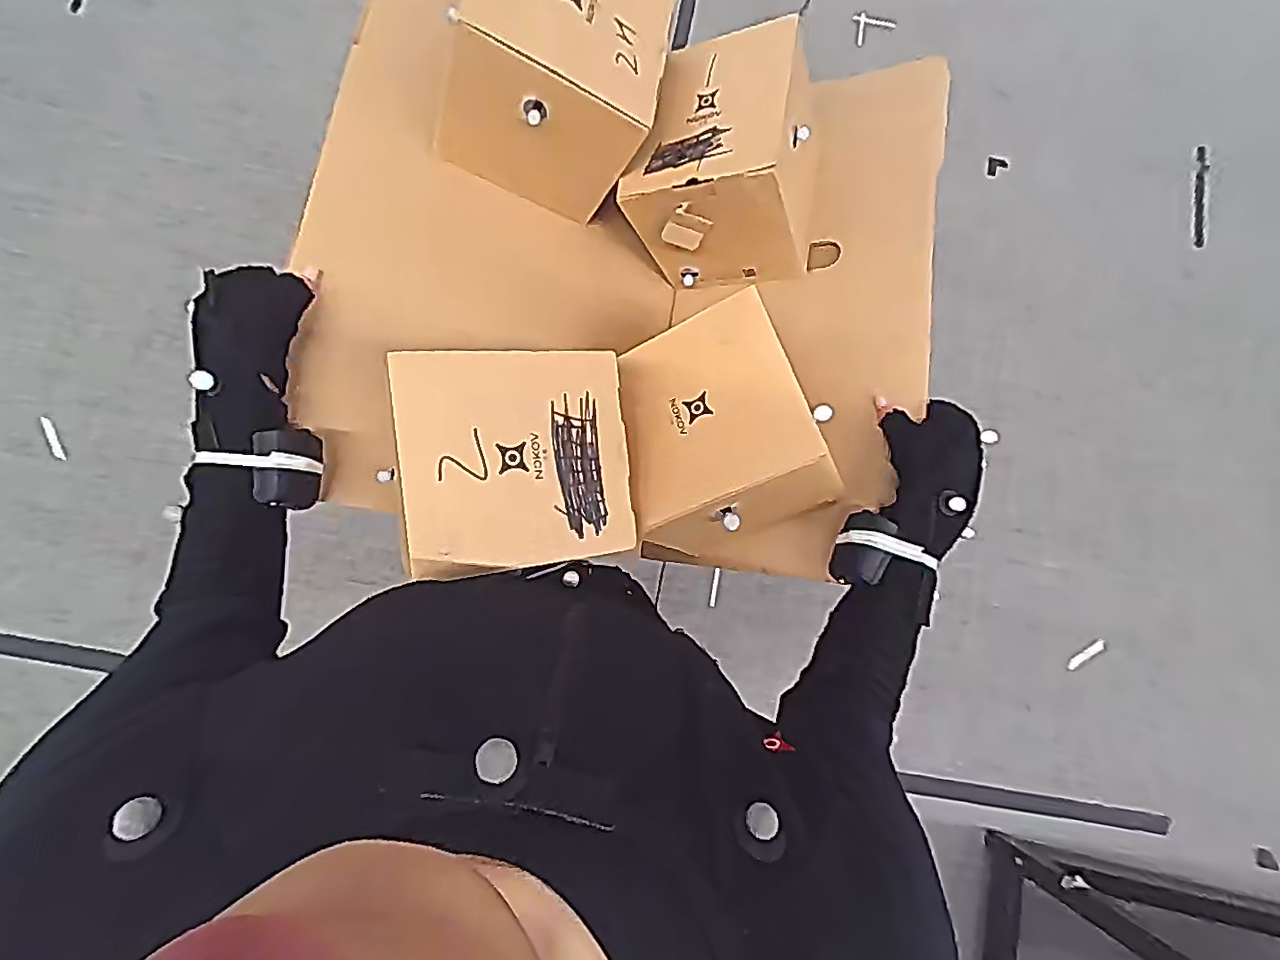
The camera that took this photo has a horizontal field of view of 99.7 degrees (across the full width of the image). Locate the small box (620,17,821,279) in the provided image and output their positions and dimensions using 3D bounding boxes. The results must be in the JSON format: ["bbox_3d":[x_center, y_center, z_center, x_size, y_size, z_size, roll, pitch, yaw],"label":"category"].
[{"bbox_3d":[0.100,-0.344,0.604,0.168,0.176,0.179,5,77,27],"label":"small box"}]
